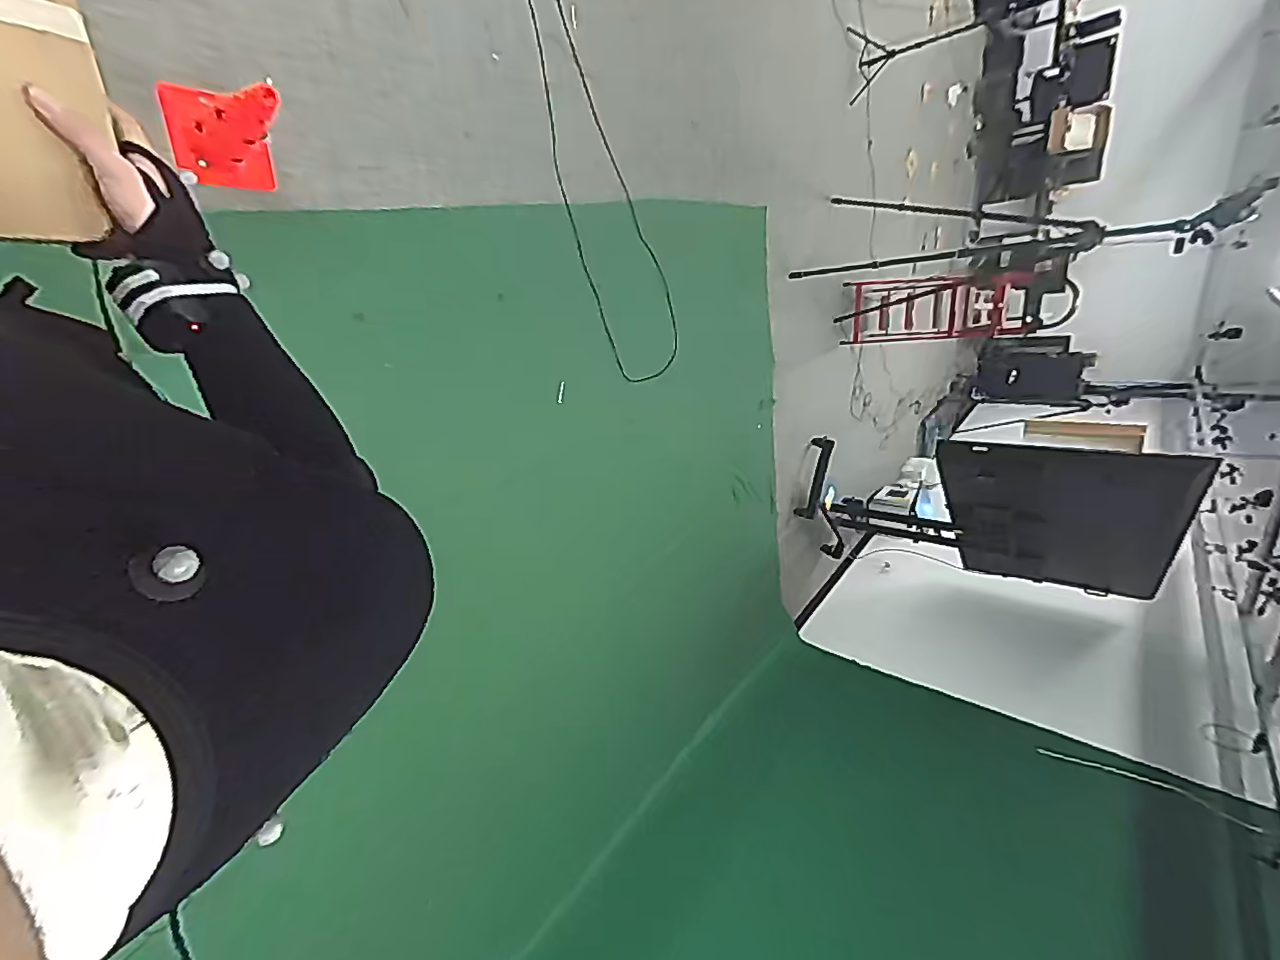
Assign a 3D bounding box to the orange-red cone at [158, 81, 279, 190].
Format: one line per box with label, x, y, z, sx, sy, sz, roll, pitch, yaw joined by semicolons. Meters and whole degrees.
orange-red cone;-0.859;-0.777;1.166;0.199;0.360;0.198;-21;115;-48
